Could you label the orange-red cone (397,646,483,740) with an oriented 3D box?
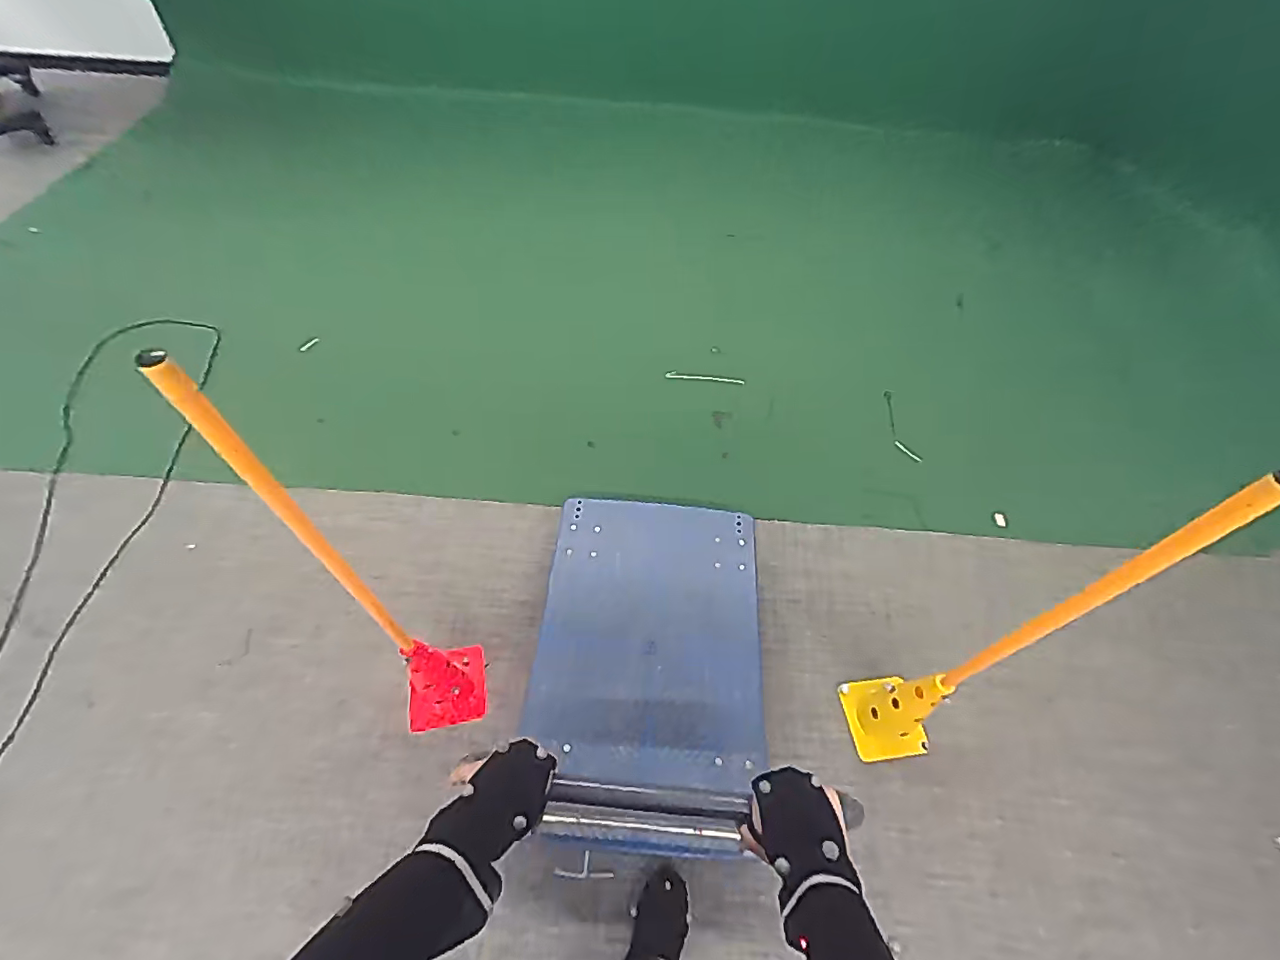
[{"bbox_3d":[-0.517,0.481,1.311,0.199,0.360,0.198,-8,55,-8],"label":"orange-red cone"}]
